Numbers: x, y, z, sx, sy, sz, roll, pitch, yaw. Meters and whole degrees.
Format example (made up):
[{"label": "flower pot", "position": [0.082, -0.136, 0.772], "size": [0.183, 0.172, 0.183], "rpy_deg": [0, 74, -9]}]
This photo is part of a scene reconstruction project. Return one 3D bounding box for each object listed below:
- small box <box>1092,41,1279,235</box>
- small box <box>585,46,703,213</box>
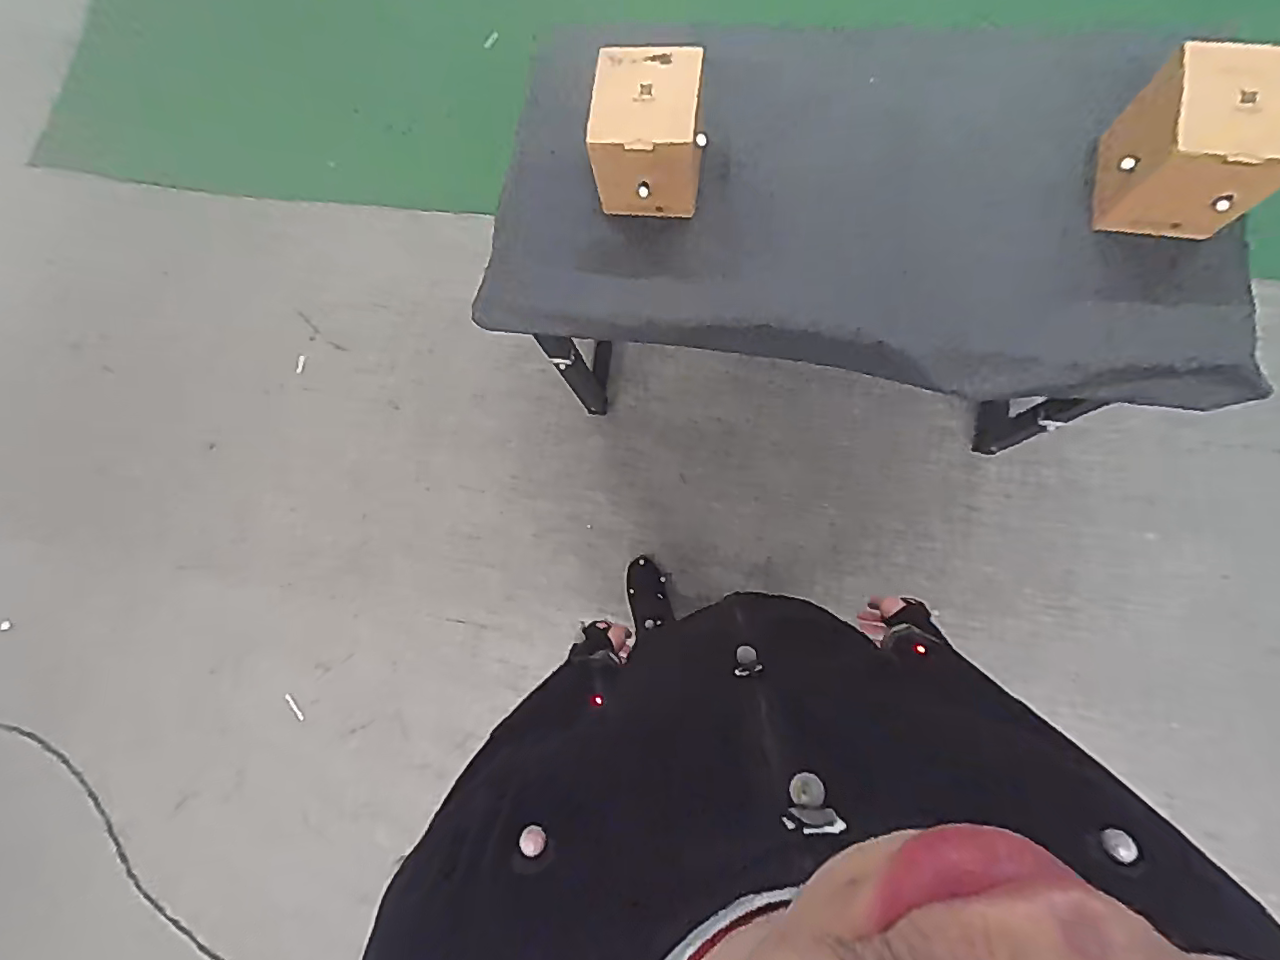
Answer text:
[{"label": "small box", "position": [0.811, -0.491, 0.795], "size": [0.168, 0.176, 0.179], "rpy_deg": [10, 80, 7]}, {"label": "small box", "position": [0.015, -0.575, 0.905], "size": [0.168, 0.176, 0.179], "rpy_deg": [6, 81, 7]}]
